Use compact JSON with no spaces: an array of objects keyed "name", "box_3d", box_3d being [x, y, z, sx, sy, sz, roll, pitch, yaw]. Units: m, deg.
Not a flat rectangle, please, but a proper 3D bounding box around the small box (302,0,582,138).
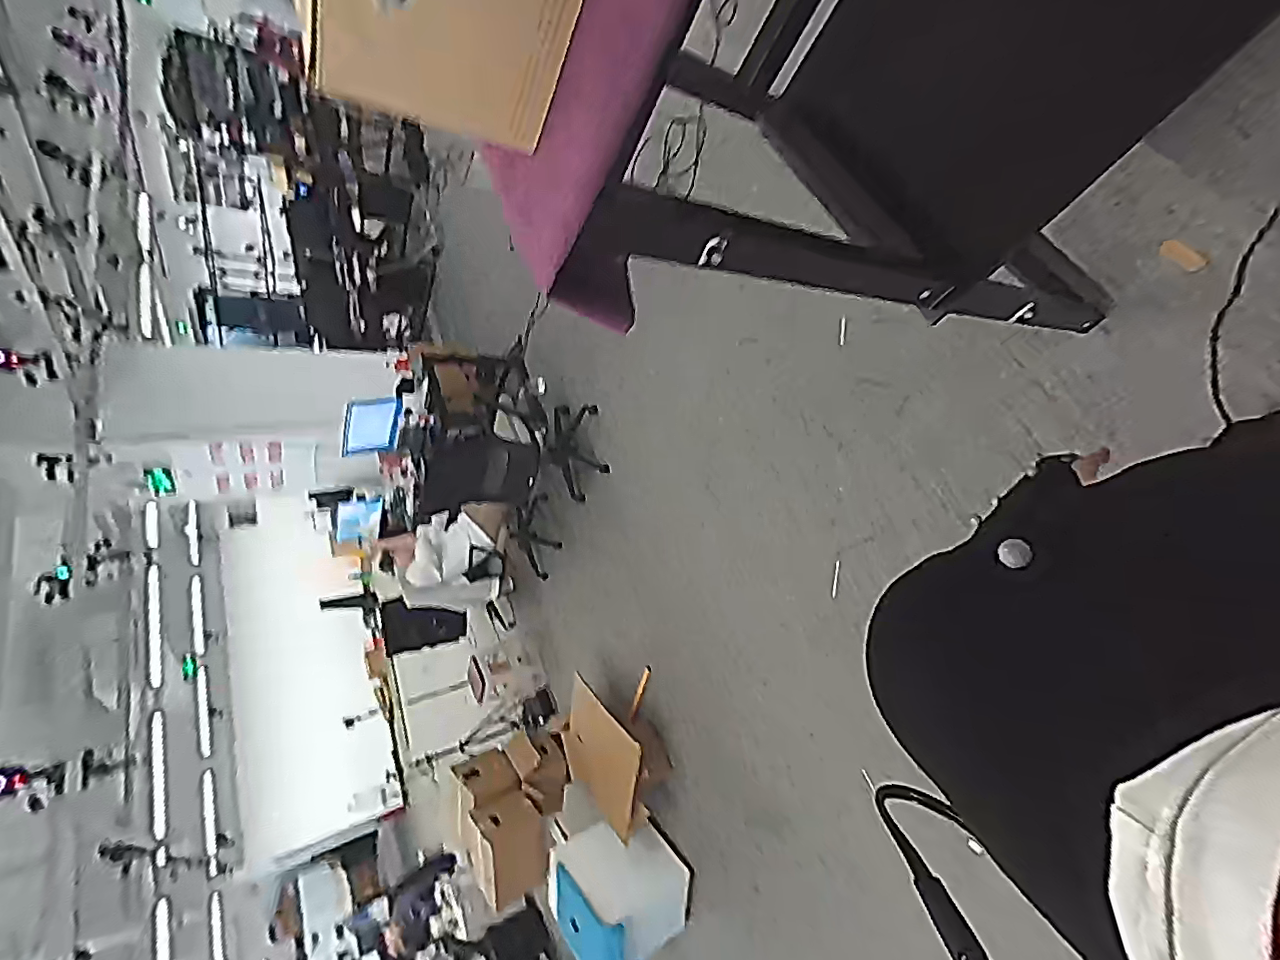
[{"name":"small box","box_3d":[-0.145,-0.393,0.393,0.179,0.176,0.168,-50,55,45]}]
